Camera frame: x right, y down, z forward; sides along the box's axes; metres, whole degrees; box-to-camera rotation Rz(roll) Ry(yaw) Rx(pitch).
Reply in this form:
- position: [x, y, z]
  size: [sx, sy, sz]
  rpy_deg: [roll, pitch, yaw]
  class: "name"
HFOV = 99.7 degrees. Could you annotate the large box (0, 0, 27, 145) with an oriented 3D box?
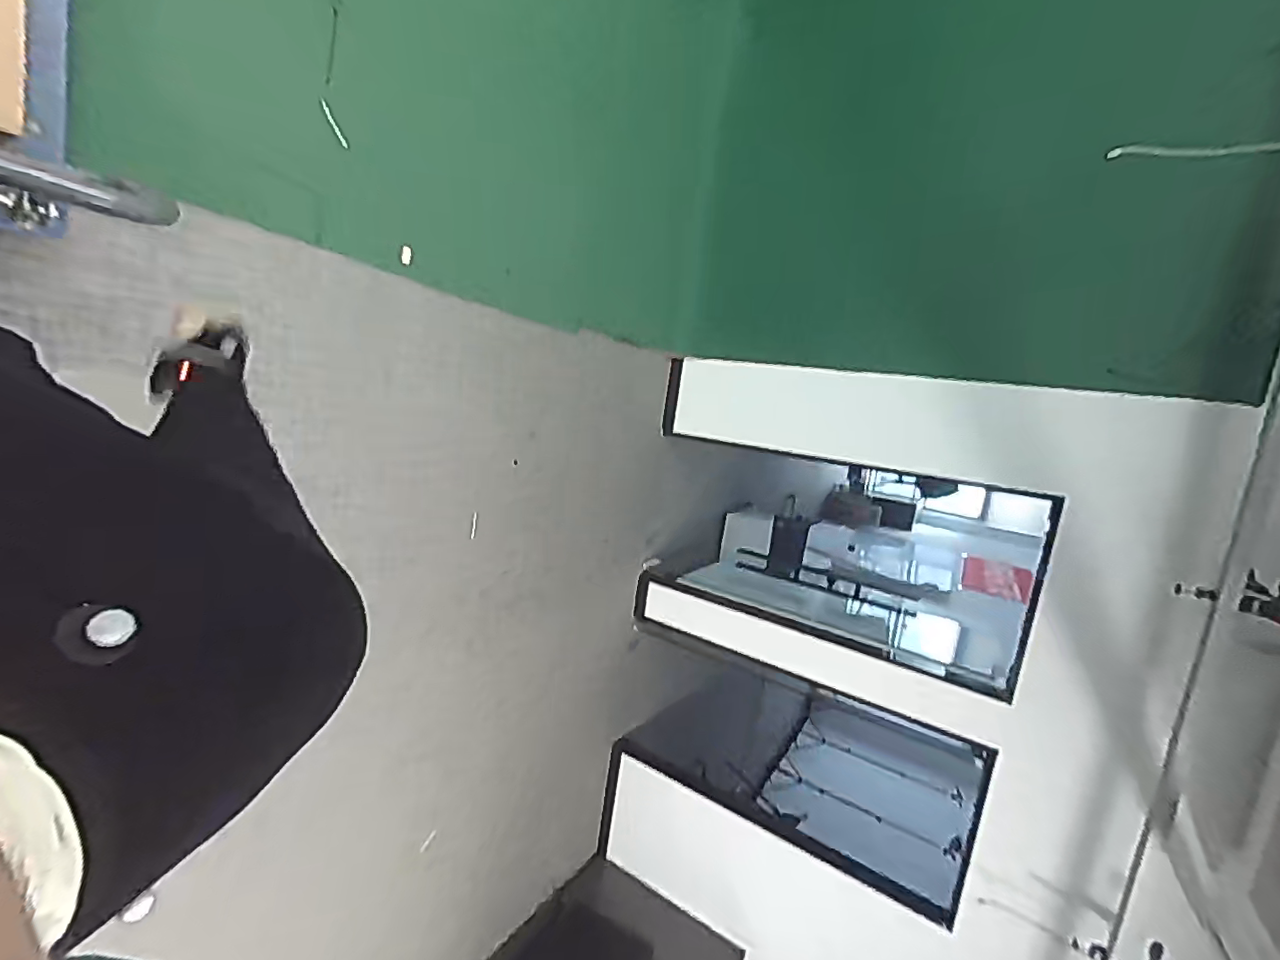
- position: [-1.042, -0.696, 0.678]
  size: [0.320, 0.320, 0.408]
  rpy_deg: [-4, 104, -59]
  class: "large box"
